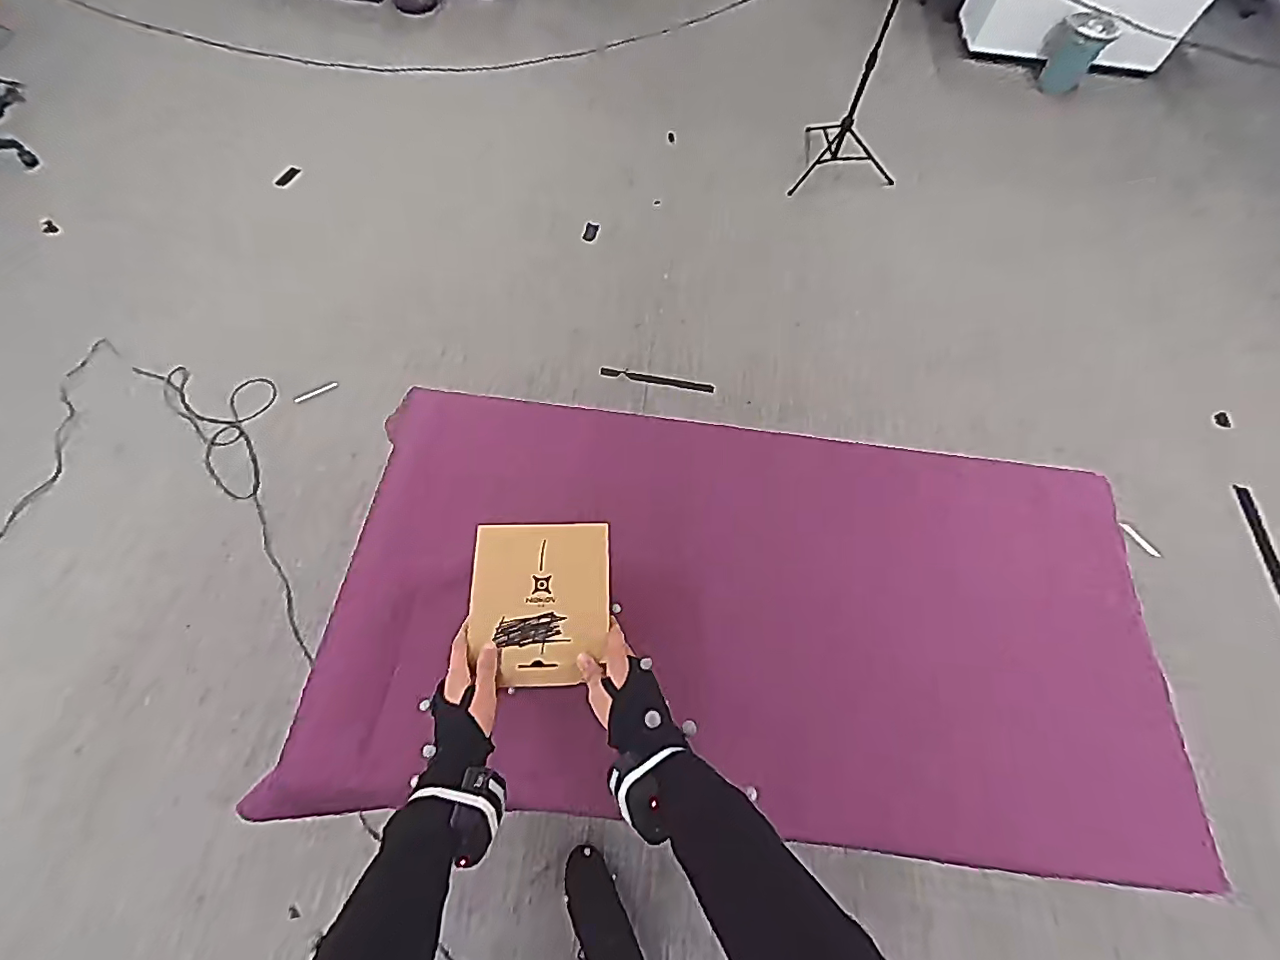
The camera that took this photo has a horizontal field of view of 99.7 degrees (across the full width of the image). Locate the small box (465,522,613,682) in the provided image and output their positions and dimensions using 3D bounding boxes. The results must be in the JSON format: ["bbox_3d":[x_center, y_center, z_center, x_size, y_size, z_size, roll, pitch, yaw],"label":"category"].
[{"bbox_3d":[-0.119,0.167,0.710,0.168,0.176,0.179,0,63,-4],"label":"small box"}]
